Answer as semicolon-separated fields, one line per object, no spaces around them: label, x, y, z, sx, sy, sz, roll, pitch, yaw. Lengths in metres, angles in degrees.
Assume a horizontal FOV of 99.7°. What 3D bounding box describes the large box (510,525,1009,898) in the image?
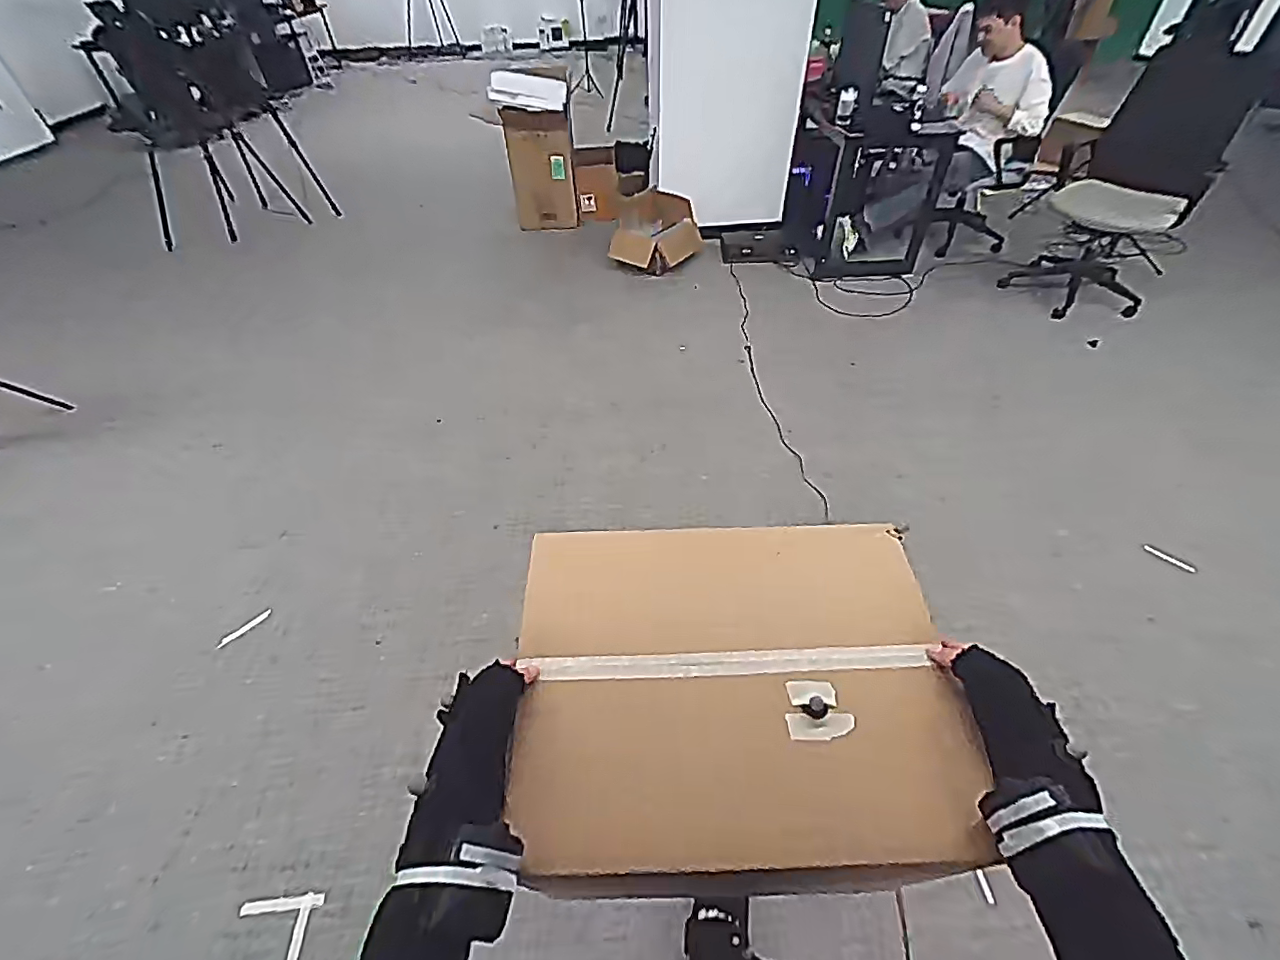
large box;0.089;0.271;0.629;0.408;0.320;0.320;-2;49;-1
